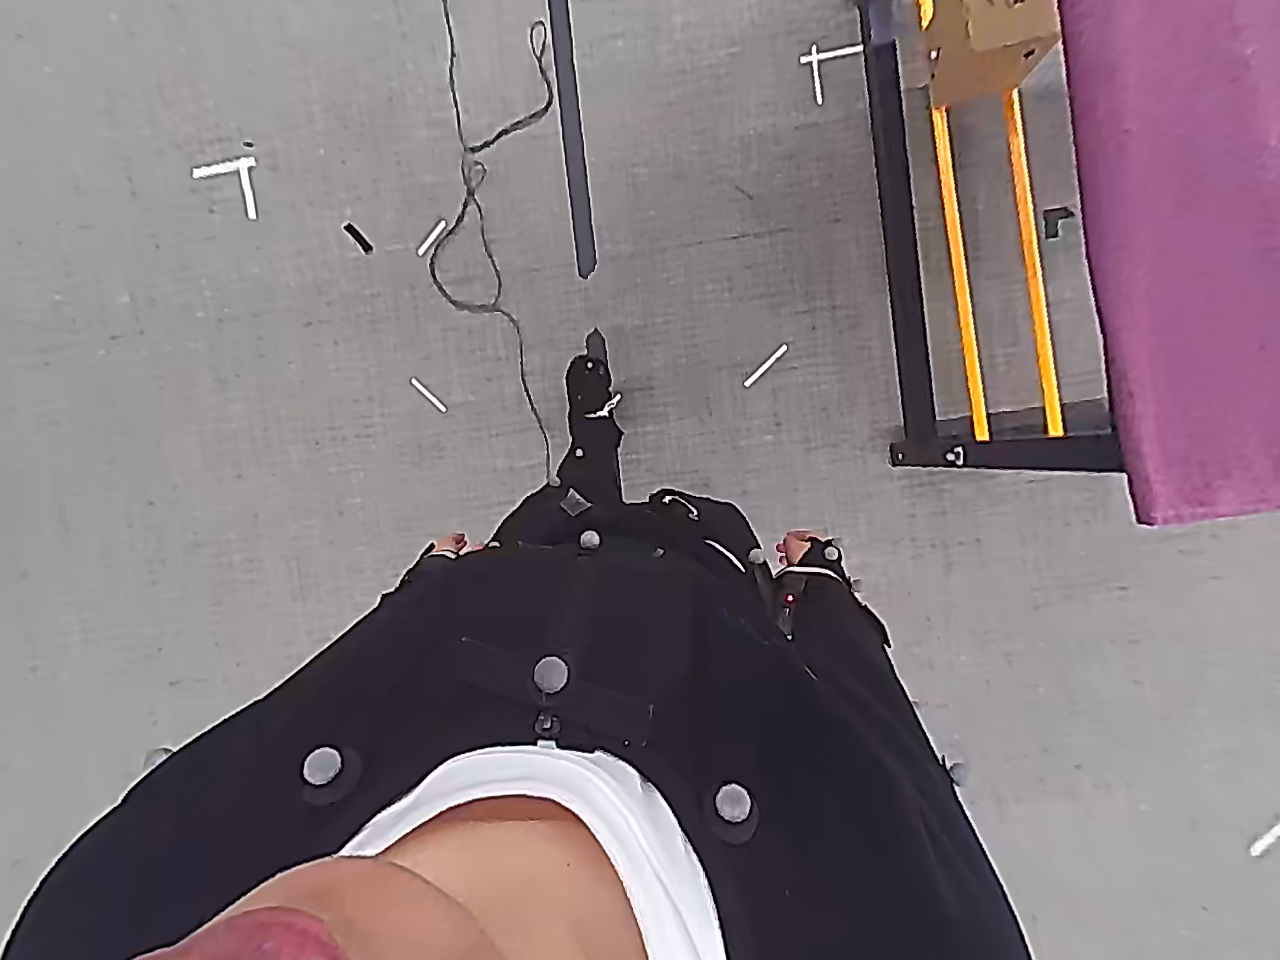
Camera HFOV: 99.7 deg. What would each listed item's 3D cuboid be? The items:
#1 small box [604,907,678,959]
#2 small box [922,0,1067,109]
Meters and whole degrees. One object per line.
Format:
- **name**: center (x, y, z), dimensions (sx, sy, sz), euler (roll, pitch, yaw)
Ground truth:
- **small box**: center (0.007, 1.199, 1.324), dimensions (0.168, 0.176, 0.179), euler (-5, 91, 4)
- **small box**: center (0.704, -0.896, 1.090), dimensions (0.179, 0.176, 0.168), euler (-10, 92, 6)
